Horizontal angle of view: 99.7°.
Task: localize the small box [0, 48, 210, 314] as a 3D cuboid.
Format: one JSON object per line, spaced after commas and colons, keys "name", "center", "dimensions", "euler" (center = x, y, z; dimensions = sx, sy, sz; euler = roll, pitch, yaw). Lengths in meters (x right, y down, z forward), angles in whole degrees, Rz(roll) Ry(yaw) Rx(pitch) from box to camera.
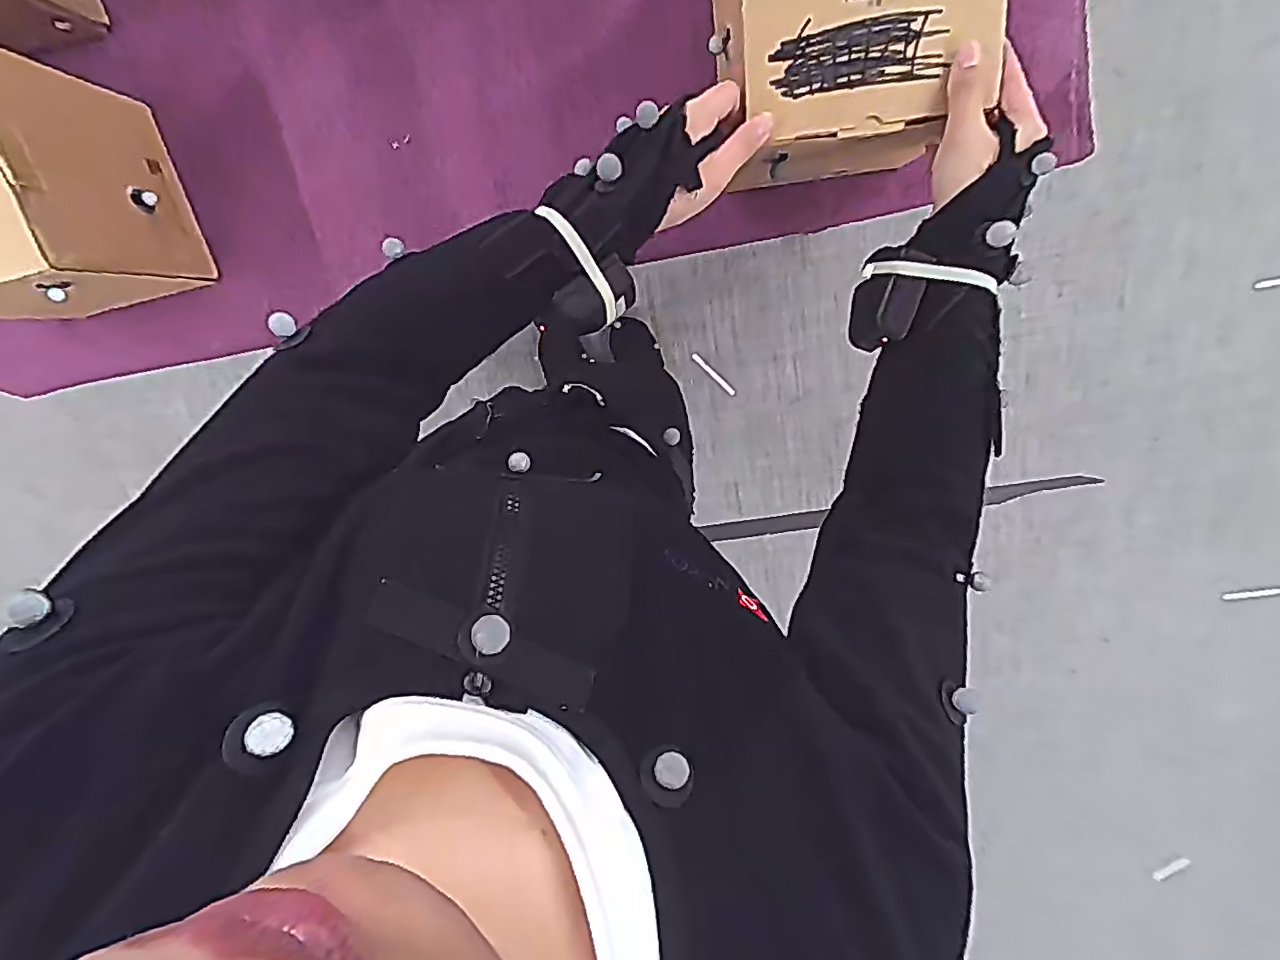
{"name": "small box", "center": [-0.549, -0.247, 0.479], "dimensions": [0.179, 0.176, 0.168], "euler": [-12, 106, 5]}
